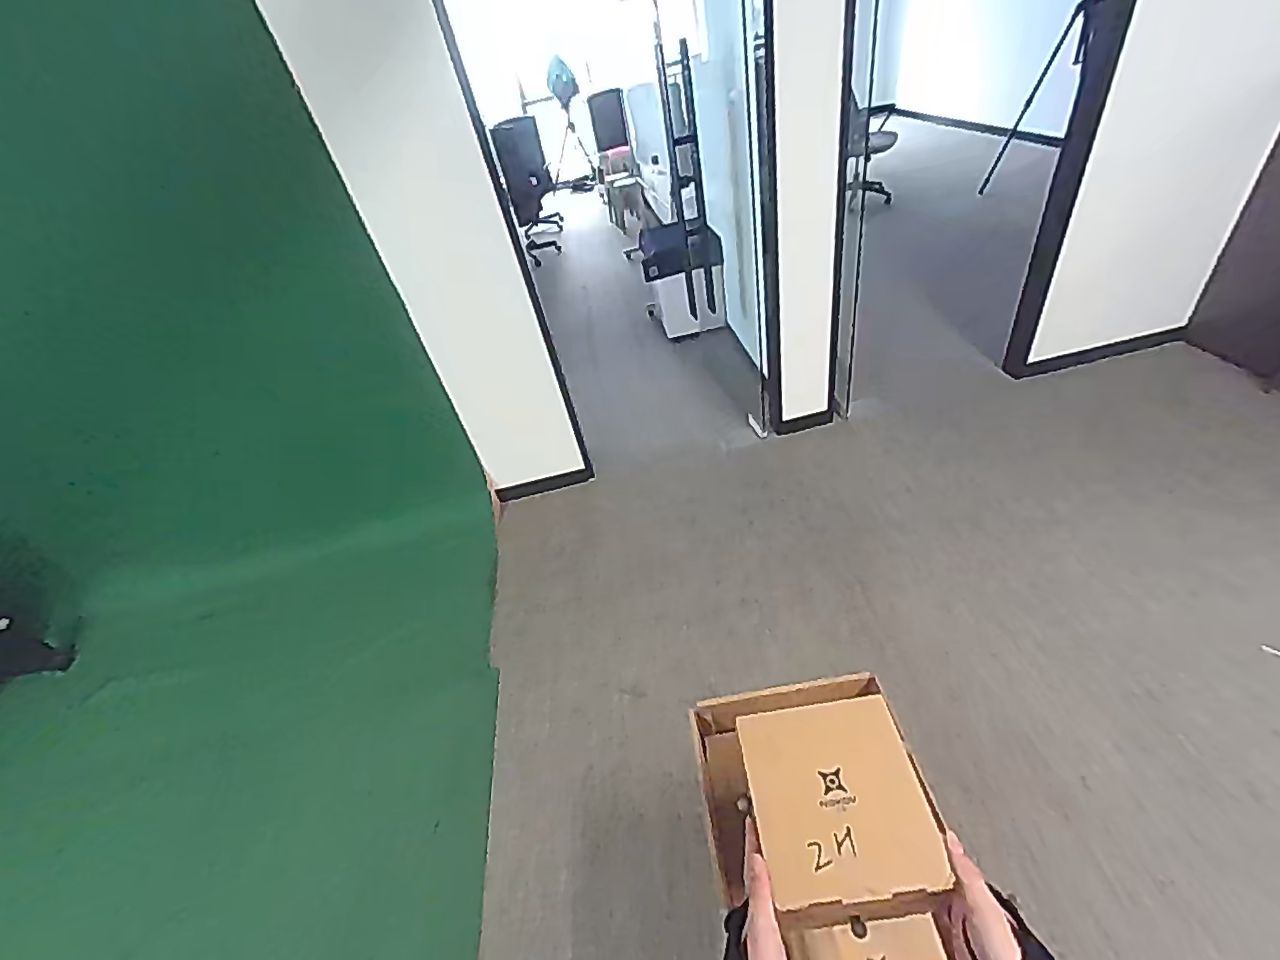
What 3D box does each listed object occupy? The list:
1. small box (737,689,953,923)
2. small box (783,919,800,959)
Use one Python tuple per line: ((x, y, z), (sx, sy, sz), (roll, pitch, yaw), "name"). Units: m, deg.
((0.205, 0.359, 0.595), (0.168, 0.176, 0.179), (-11, 44, 5), "small box")
((0.321, 0.764, 0.818), (0.168, 0.176, 0.179), (-10, 39, 4), "small box")
